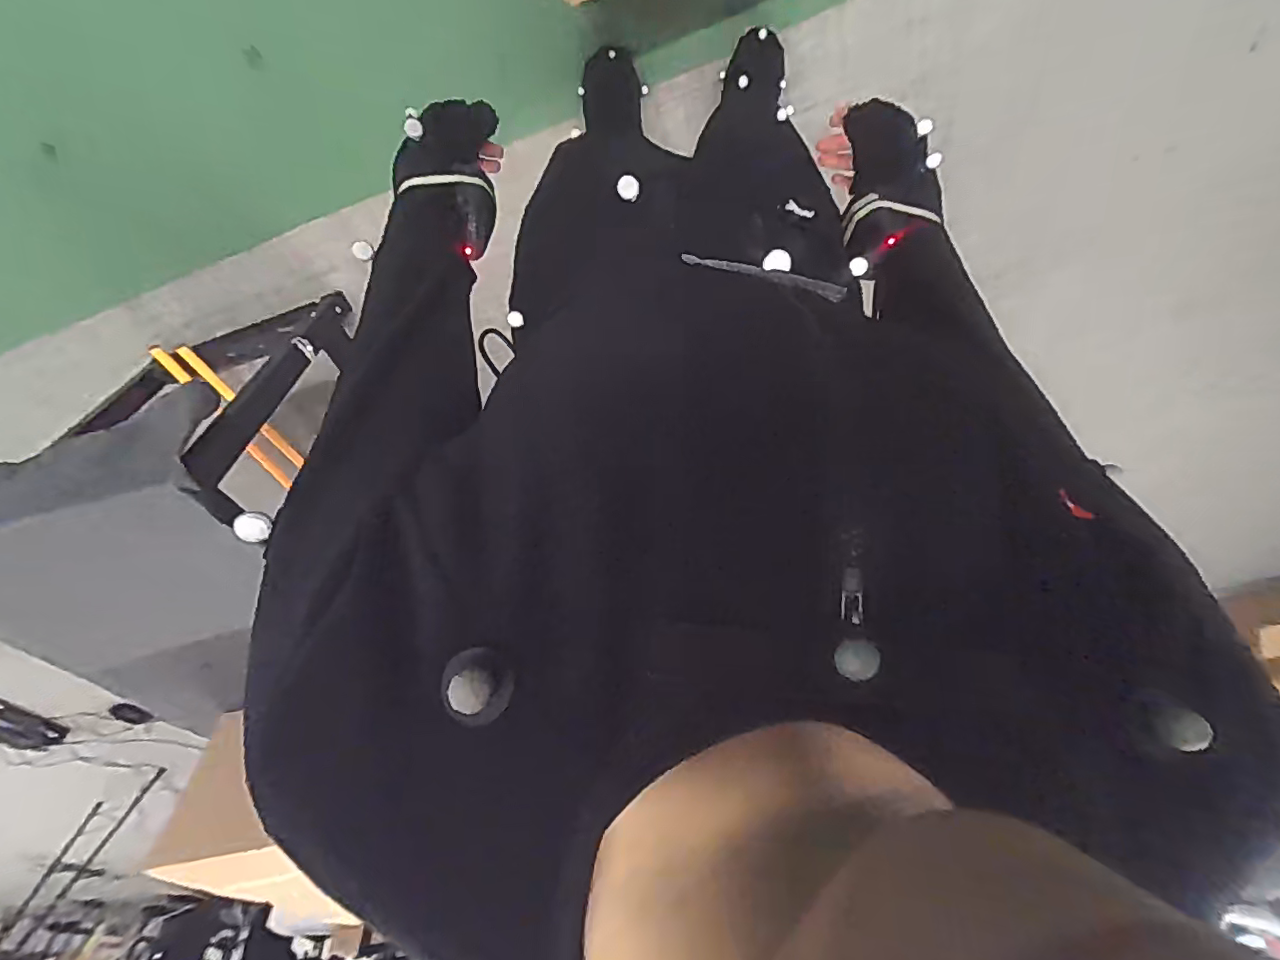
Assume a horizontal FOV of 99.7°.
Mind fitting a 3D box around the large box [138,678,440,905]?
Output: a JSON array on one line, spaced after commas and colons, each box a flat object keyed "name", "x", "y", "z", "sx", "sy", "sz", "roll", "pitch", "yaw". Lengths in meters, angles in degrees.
[{"name": "large box", "x": -0.723, "y": 0.684, "z": 1.188, "sx": 0.408, "sy": 0.320, "sz": 0.320, "roll": -16, "pitch": 131, "yaw": 9}]
